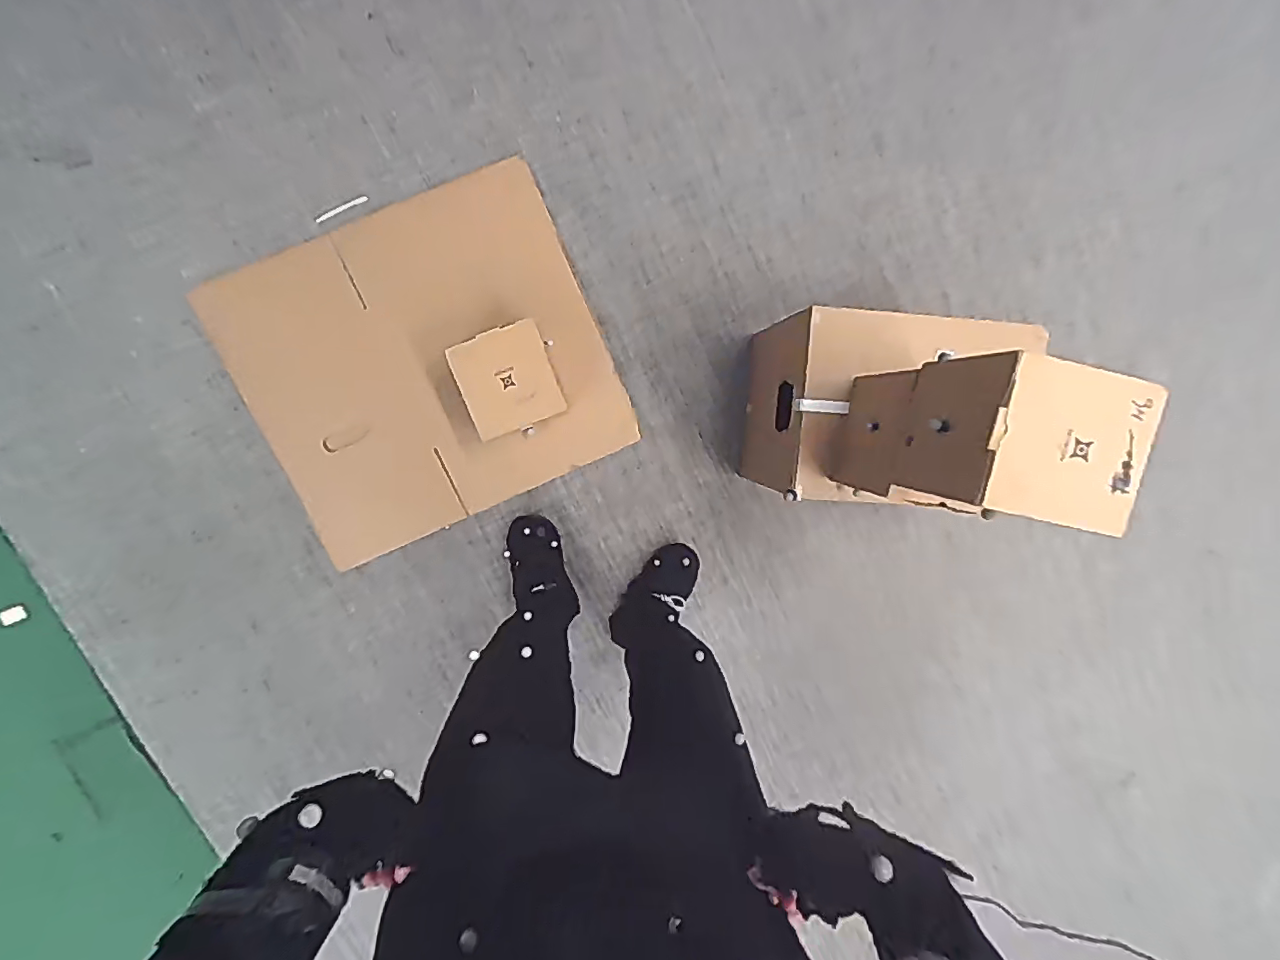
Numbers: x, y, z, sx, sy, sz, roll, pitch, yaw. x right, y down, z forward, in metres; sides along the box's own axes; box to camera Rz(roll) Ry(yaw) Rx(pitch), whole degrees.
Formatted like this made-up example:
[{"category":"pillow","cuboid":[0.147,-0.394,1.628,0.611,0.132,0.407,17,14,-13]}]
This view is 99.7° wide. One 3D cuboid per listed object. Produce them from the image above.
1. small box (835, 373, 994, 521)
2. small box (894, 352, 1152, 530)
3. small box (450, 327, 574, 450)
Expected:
[{"category":"small box","cuboid":[0.413,-0.051,0.805,0.168,0.176,0.179,10,95,-6]},{"category":"small box","cuboid":[0.436,-0.044,0.646,0.179,0.176,0.168,9,94,-7]},{"category":"small box","cuboid":[-0.235,-0.168,1.032,0.168,0.176,0.179,-22,98,-1]}]
